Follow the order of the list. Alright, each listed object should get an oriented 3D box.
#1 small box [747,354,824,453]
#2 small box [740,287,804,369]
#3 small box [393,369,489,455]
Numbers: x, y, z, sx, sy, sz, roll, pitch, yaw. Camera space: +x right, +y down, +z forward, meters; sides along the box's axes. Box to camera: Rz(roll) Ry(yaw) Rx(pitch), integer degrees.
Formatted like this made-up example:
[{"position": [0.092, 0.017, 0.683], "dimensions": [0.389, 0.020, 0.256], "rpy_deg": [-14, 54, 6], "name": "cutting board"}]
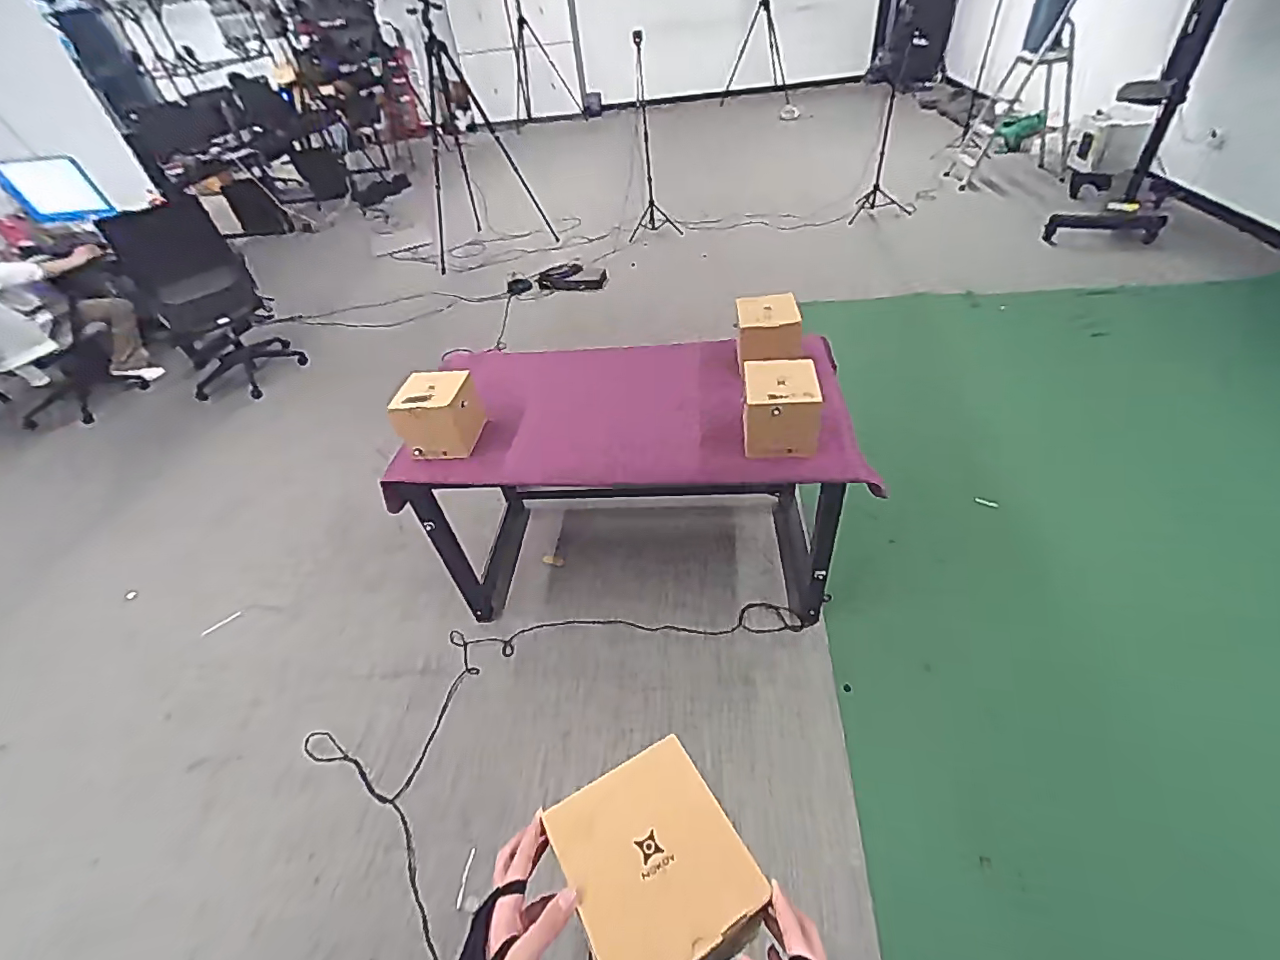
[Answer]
[{"position": [0.345, -0.184, 1.314], "dimensions": [0.168, 0.176, 0.179], "rpy_deg": [-2, 45, 10], "name": "small box"}, {"position": [0.376, -0.435, 1.564], "dimensions": [0.168, 0.176, 0.179], "rpy_deg": [-4, 45, 10], "name": "small box"}, {"position": [-0.527, -0.180, 1.467], "dimensions": [0.168, 0.176, 0.179], "rpy_deg": [-1, 43, 8], "name": "small box"}]
